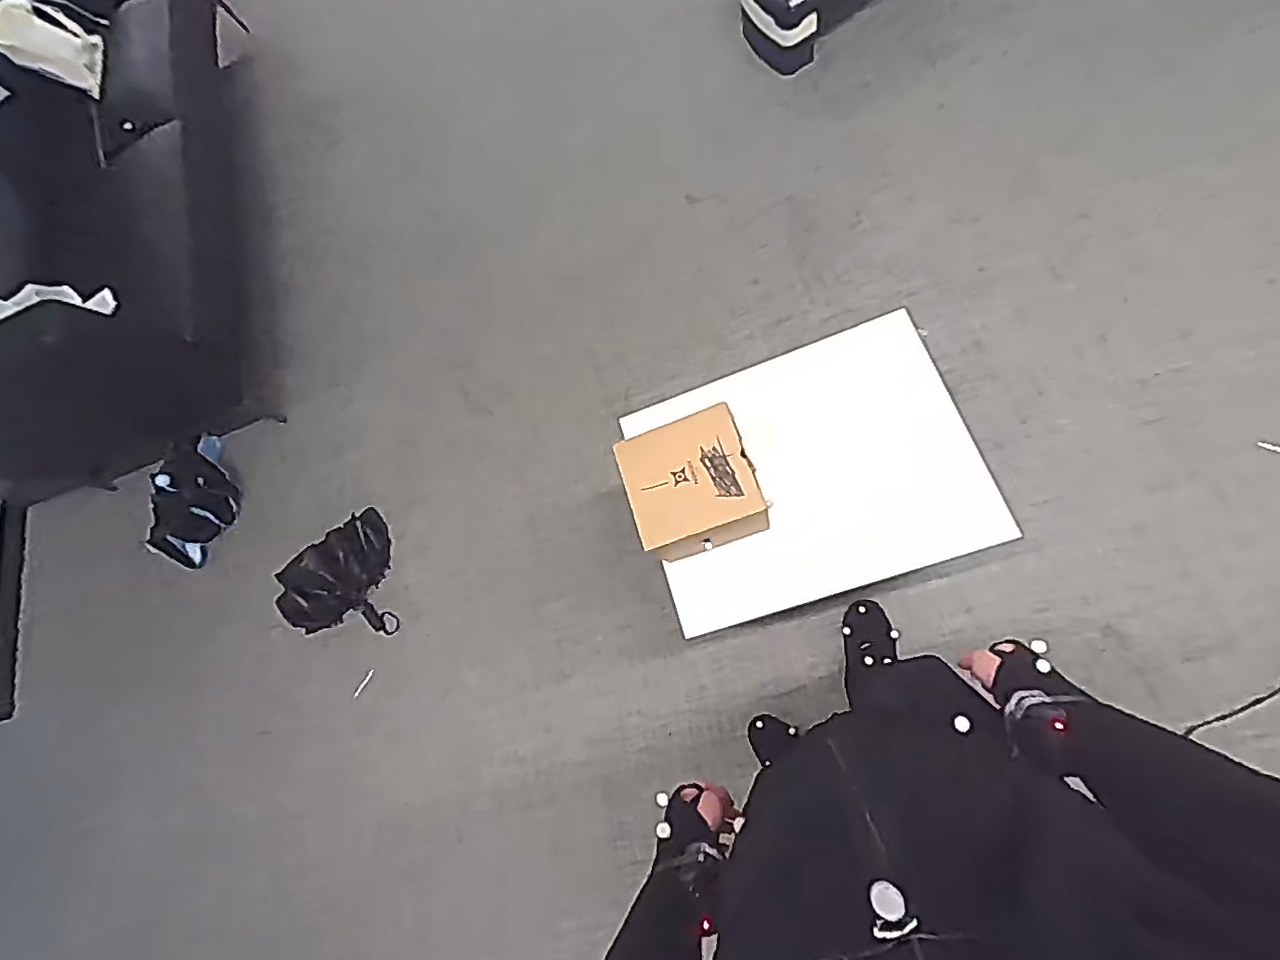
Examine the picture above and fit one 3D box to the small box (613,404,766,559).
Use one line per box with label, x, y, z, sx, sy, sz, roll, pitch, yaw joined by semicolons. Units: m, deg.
small box;0.082;0.012;0.816;0.179;0.176;0.168;-21;72;10
